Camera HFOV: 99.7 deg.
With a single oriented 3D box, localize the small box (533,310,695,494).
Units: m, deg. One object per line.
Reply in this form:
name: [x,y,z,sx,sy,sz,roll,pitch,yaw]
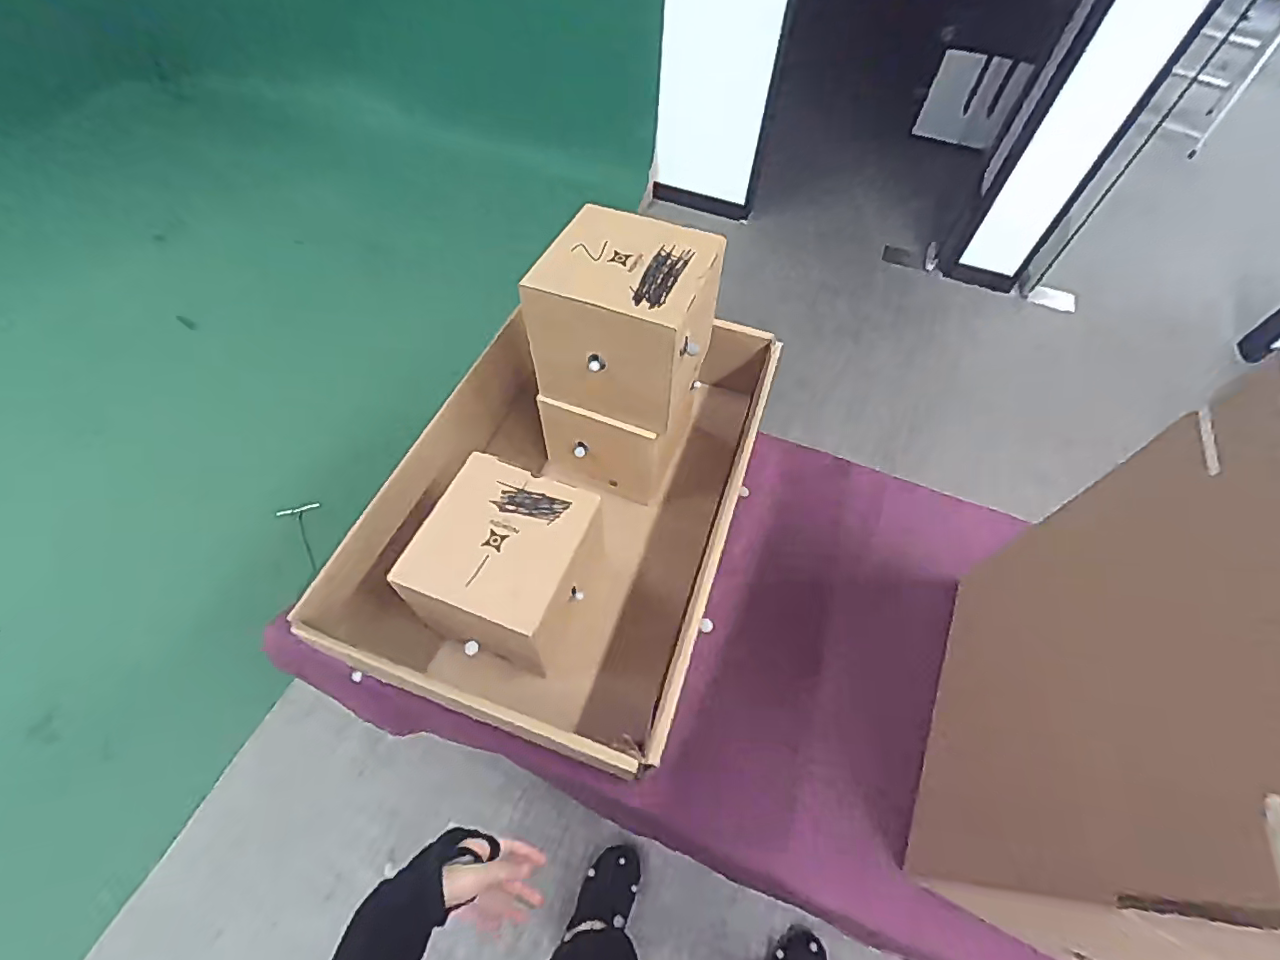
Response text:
small box: [-0.030,-0.107,0.780,0.168,0.176,0.179,20,59,11]
